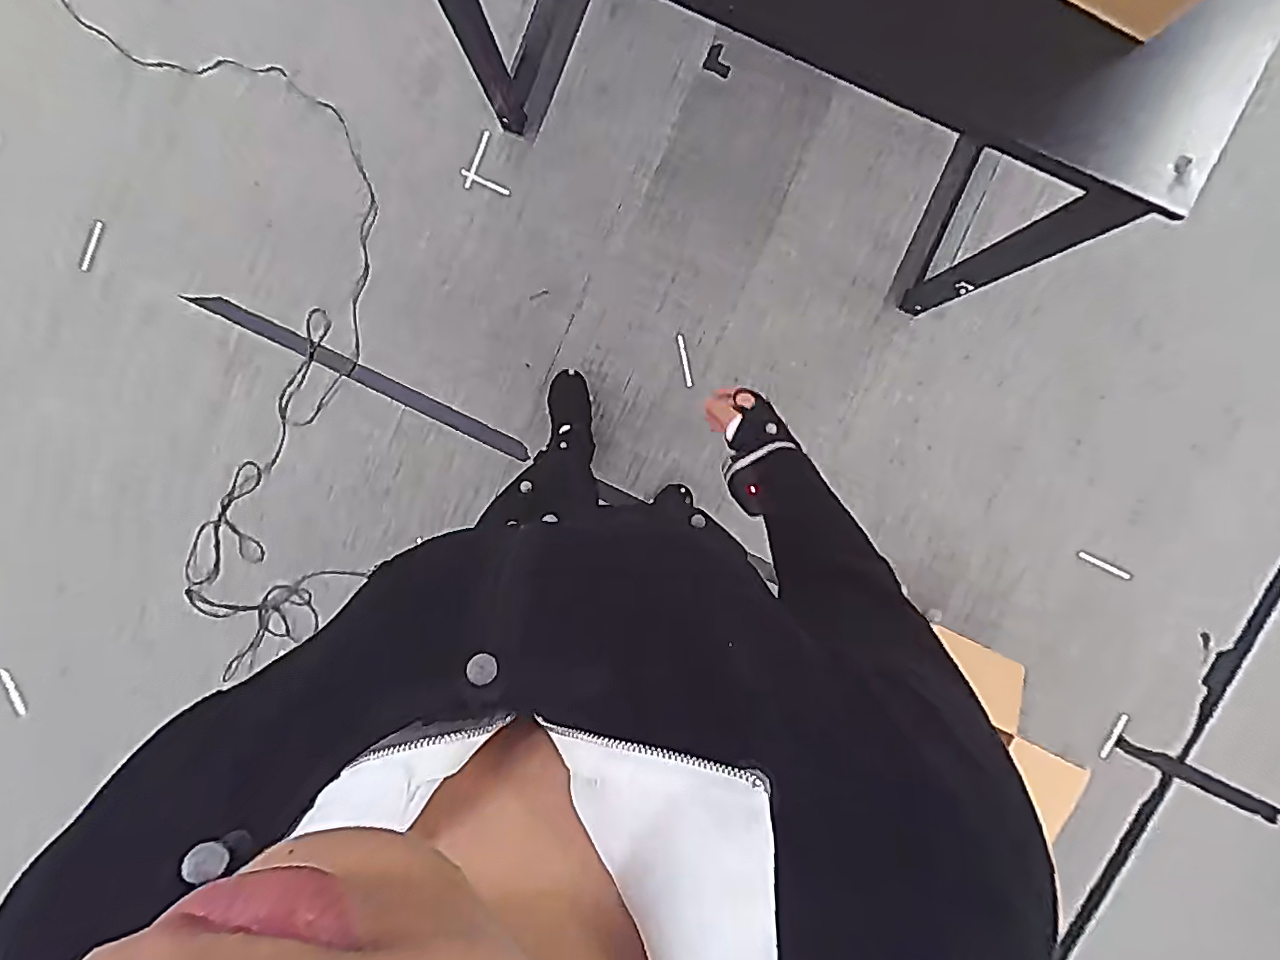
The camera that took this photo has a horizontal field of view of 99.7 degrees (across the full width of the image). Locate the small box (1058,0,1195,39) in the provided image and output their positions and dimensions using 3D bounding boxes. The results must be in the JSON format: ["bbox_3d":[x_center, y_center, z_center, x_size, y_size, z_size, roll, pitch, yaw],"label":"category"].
[{"bbox_3d":[0.591,-0.647,0.593,0.179,0.176,0.168,28,95,0],"label":"small box"}]
